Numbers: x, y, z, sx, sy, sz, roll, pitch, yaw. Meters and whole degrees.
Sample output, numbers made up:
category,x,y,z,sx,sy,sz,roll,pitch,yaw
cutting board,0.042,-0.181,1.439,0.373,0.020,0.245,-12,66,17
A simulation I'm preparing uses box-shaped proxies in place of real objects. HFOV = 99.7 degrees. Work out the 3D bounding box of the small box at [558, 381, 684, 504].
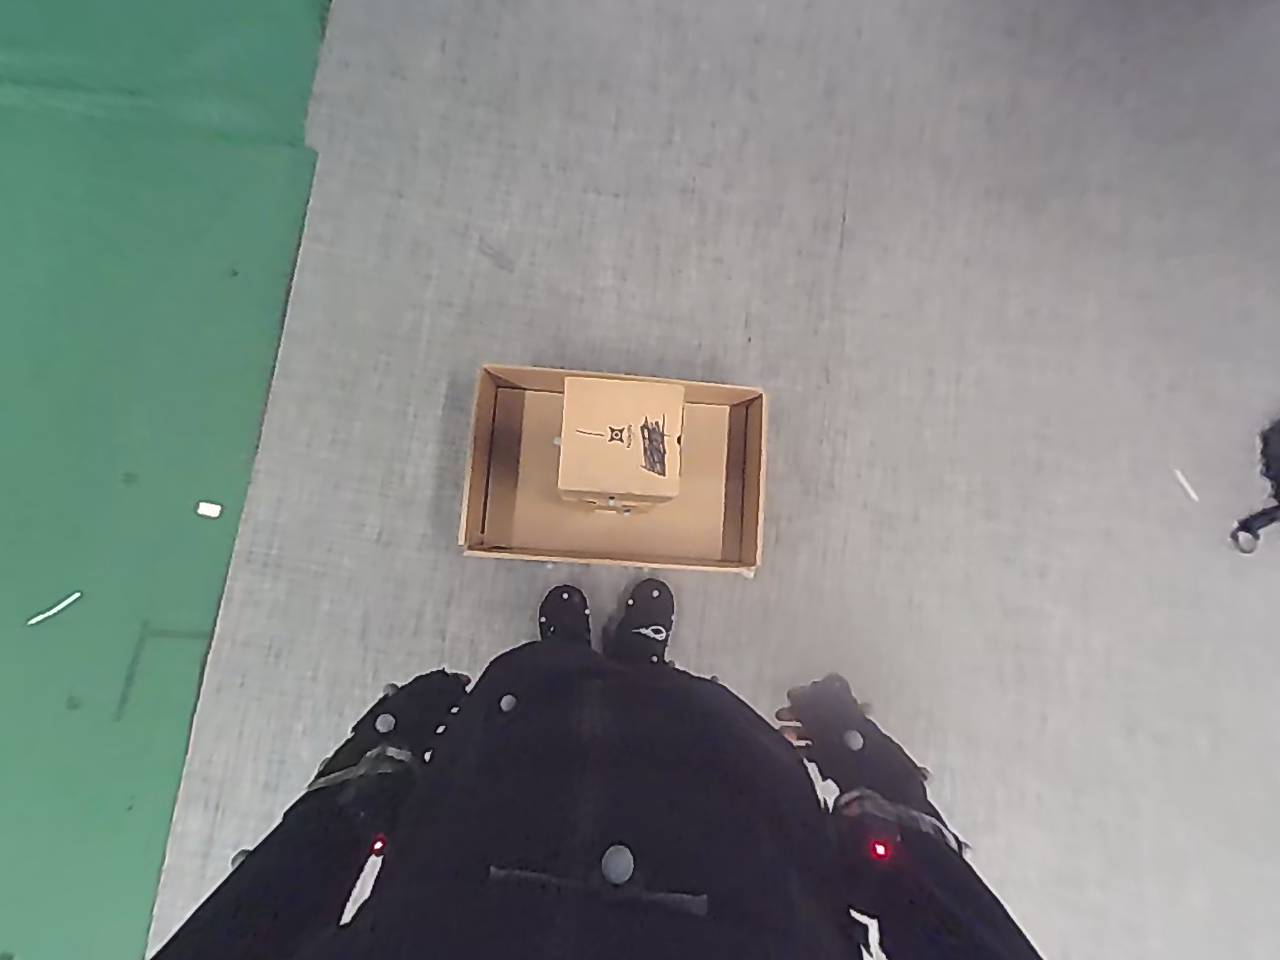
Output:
category,x,y,z,sx,sy,sz,roll,pitch,yaw
small box,-0.032,-0.051,0.861,0.179,0.176,0.168,3,84,-3

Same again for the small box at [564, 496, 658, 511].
category,x,y,z,sx,sy,sz,roll,pitch,yaw
small box,-0.050,-0.031,1.007,0.168,0.176,0.179,2,85,-4
